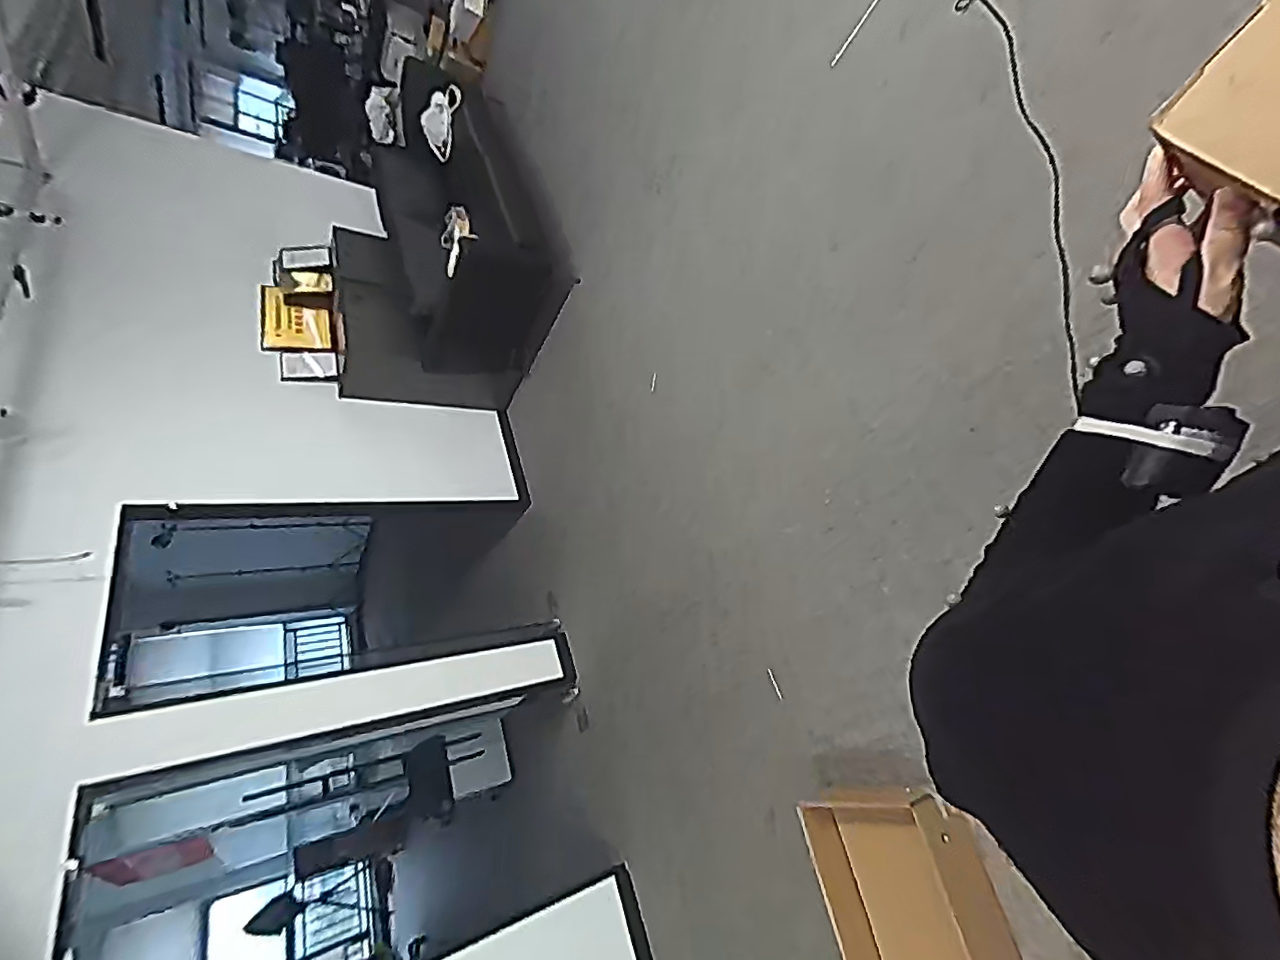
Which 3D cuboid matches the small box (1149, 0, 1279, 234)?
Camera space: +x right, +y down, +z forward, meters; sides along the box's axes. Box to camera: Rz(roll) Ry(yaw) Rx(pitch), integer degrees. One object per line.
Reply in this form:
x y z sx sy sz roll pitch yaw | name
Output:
0.435 -0.207 0.277 0.168 0.176 0.179 -54 50 41 | small box
